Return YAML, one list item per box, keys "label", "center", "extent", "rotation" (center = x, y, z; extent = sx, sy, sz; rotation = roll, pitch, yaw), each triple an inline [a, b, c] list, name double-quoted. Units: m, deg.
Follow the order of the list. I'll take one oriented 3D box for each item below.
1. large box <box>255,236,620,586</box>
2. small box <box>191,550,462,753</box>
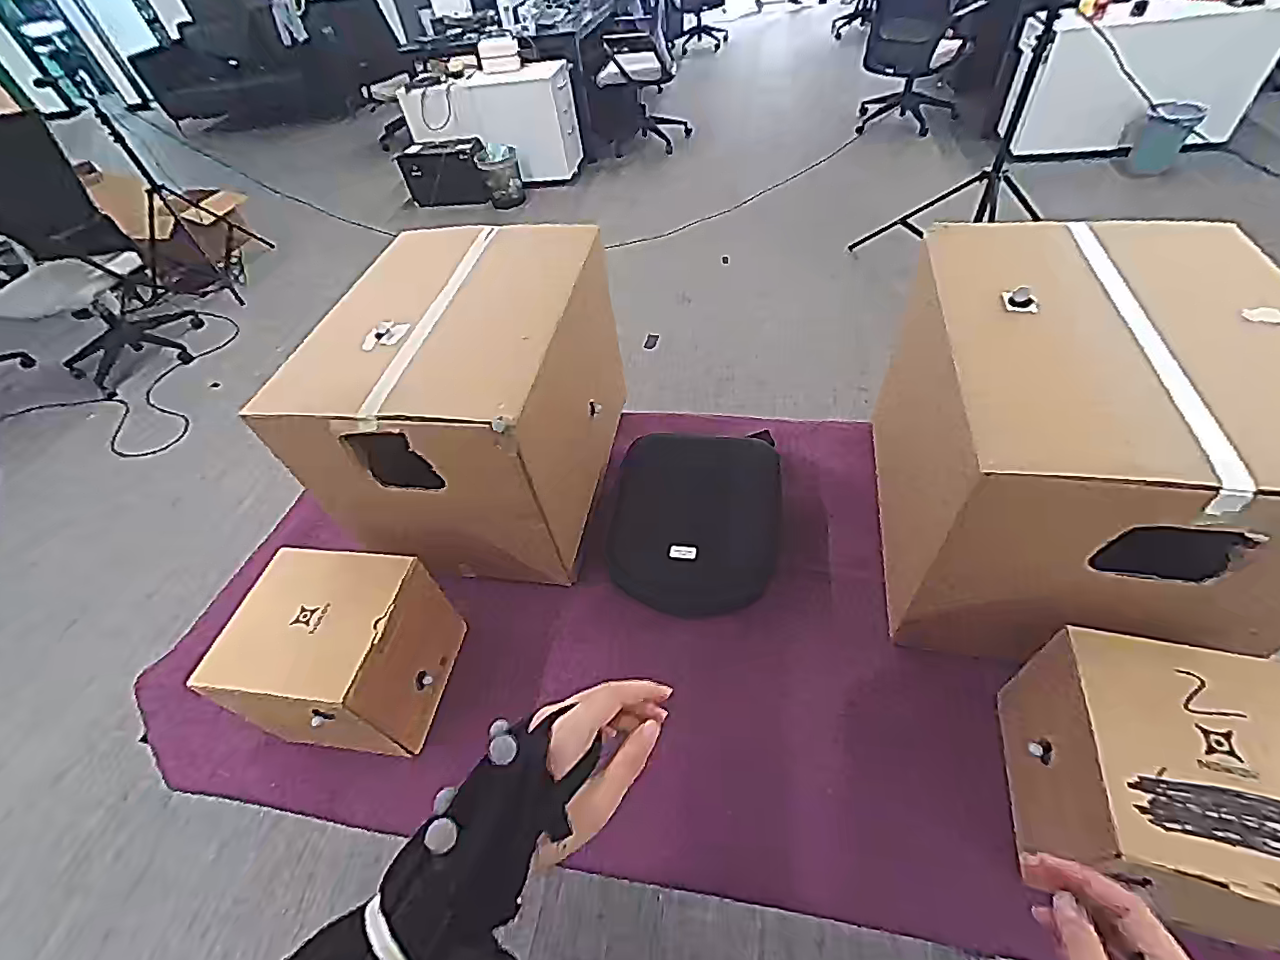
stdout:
- label: "large box"
  center: [-0.222, -0.105, 0.784]
  extent: [0.320, 0.320, 0.408]
  rotation: [2, 52, 11]
- label: "small box"
  center: [-0.338, 0.199, 0.626]
  extent: [0.179, 0.176, 0.168]
  rotation: [2, 48, 9]
